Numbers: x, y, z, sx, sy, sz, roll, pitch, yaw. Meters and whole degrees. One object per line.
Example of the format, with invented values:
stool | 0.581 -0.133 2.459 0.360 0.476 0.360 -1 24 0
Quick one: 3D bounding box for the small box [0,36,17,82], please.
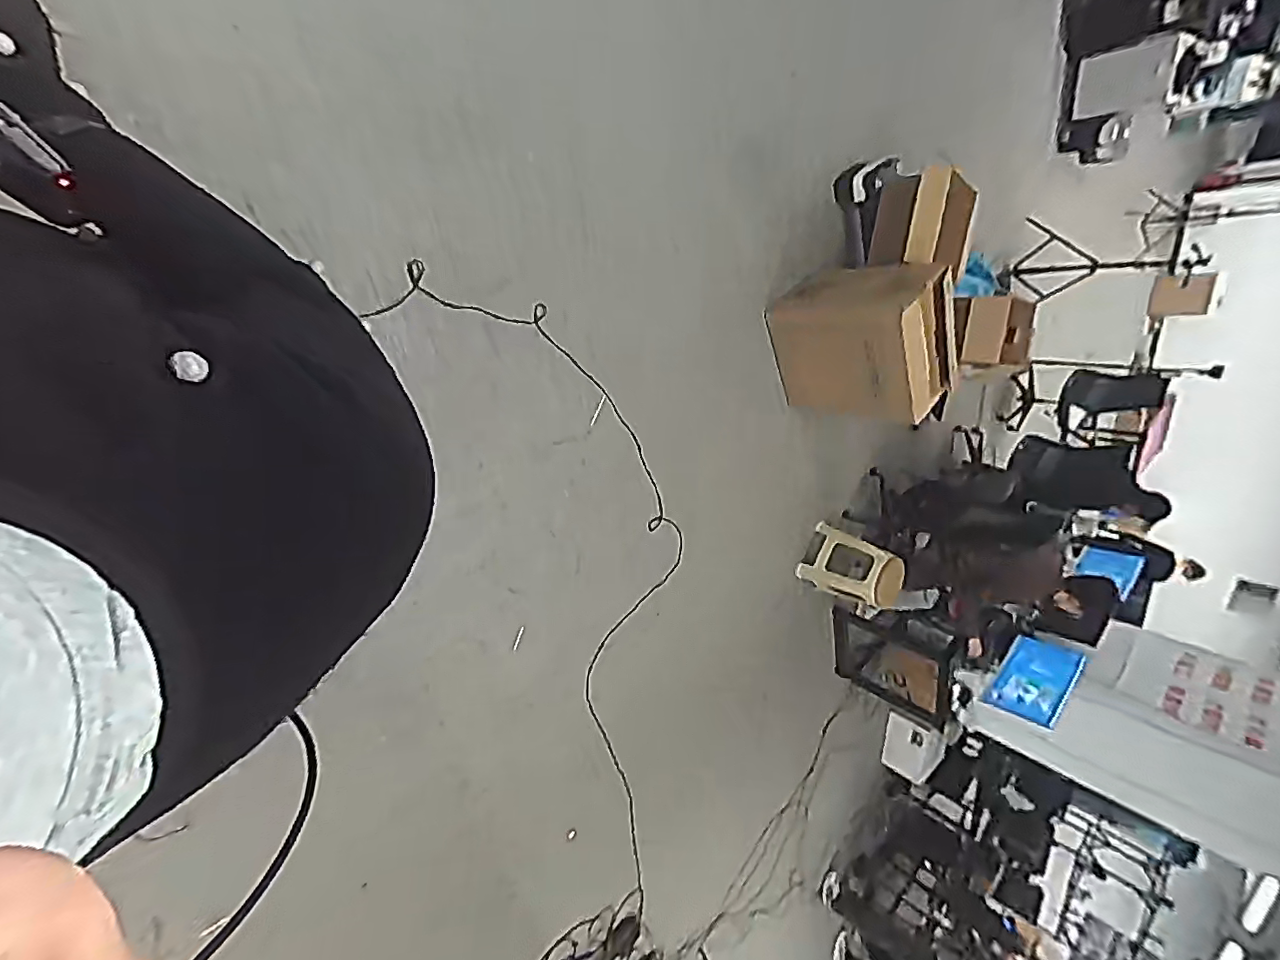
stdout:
small box | -0.603 -0.380 0.364 0.179 0.176 0.168 -28 122 -29
